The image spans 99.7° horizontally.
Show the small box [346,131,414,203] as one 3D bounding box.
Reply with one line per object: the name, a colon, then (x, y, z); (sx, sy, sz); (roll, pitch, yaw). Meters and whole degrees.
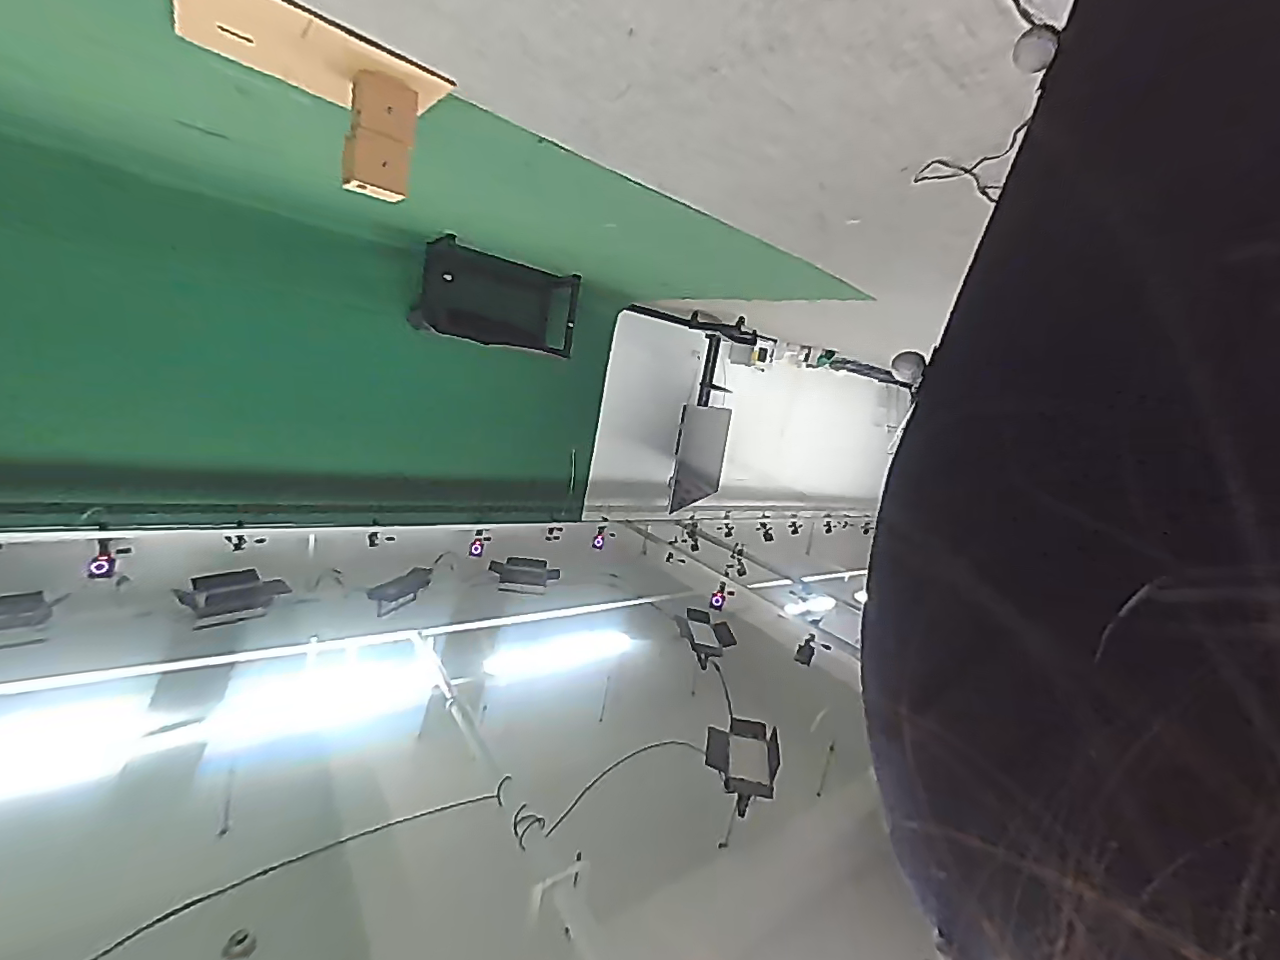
small box: (-0.906, -1.090, 1.883); (0.179, 0.176, 0.168); (-2, -164, -42)
